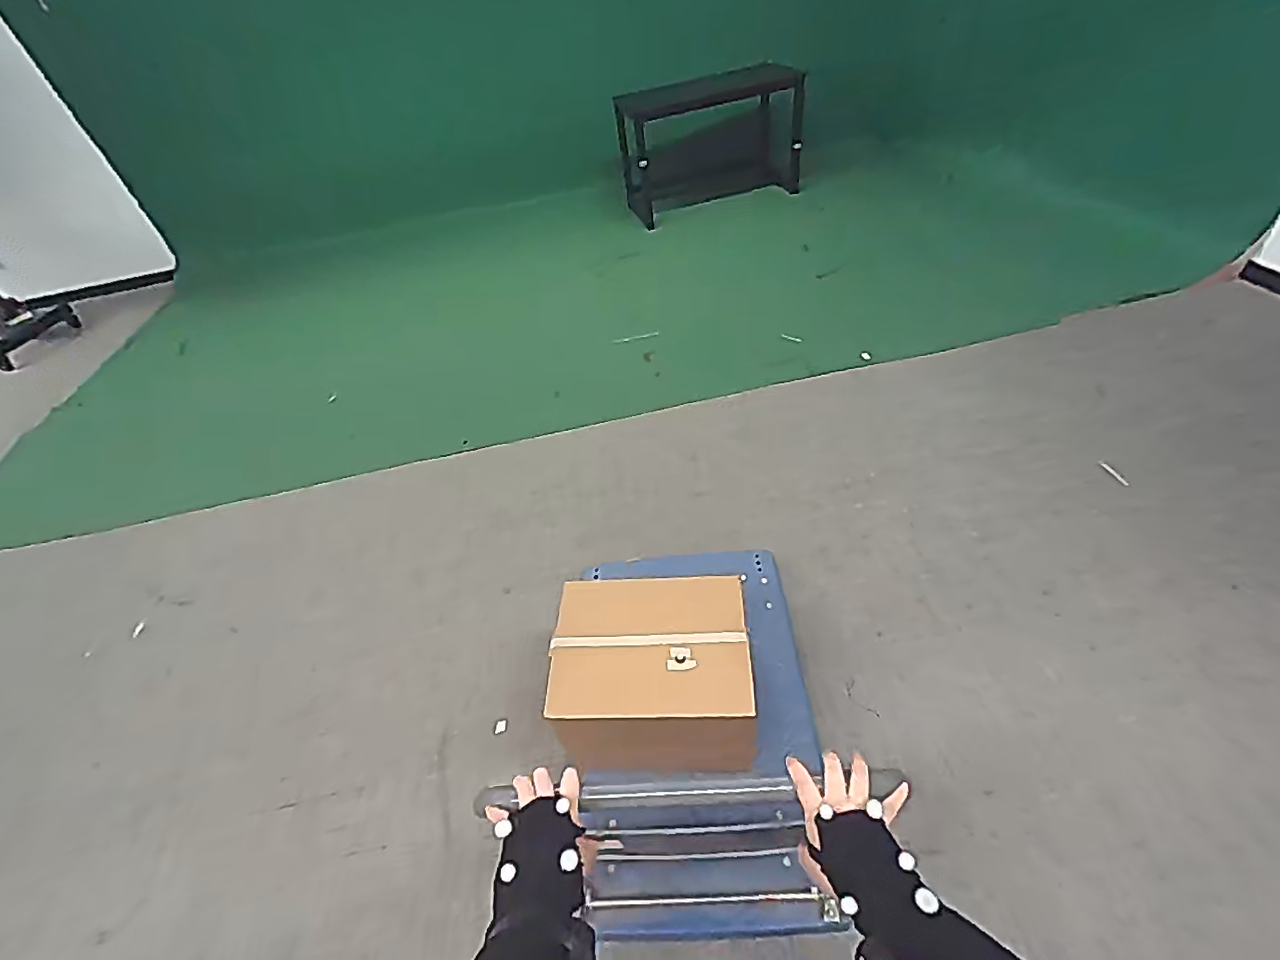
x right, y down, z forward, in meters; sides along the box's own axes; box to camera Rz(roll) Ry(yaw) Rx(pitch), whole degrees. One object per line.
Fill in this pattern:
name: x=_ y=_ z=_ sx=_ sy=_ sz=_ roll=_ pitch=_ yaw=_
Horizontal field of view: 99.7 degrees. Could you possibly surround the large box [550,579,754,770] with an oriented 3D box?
large box: x=0.035 y=0.451 z=1.246 sx=0.408 sy=0.320 sz=0.320 roll=-3 pitch=45 yaw=5
